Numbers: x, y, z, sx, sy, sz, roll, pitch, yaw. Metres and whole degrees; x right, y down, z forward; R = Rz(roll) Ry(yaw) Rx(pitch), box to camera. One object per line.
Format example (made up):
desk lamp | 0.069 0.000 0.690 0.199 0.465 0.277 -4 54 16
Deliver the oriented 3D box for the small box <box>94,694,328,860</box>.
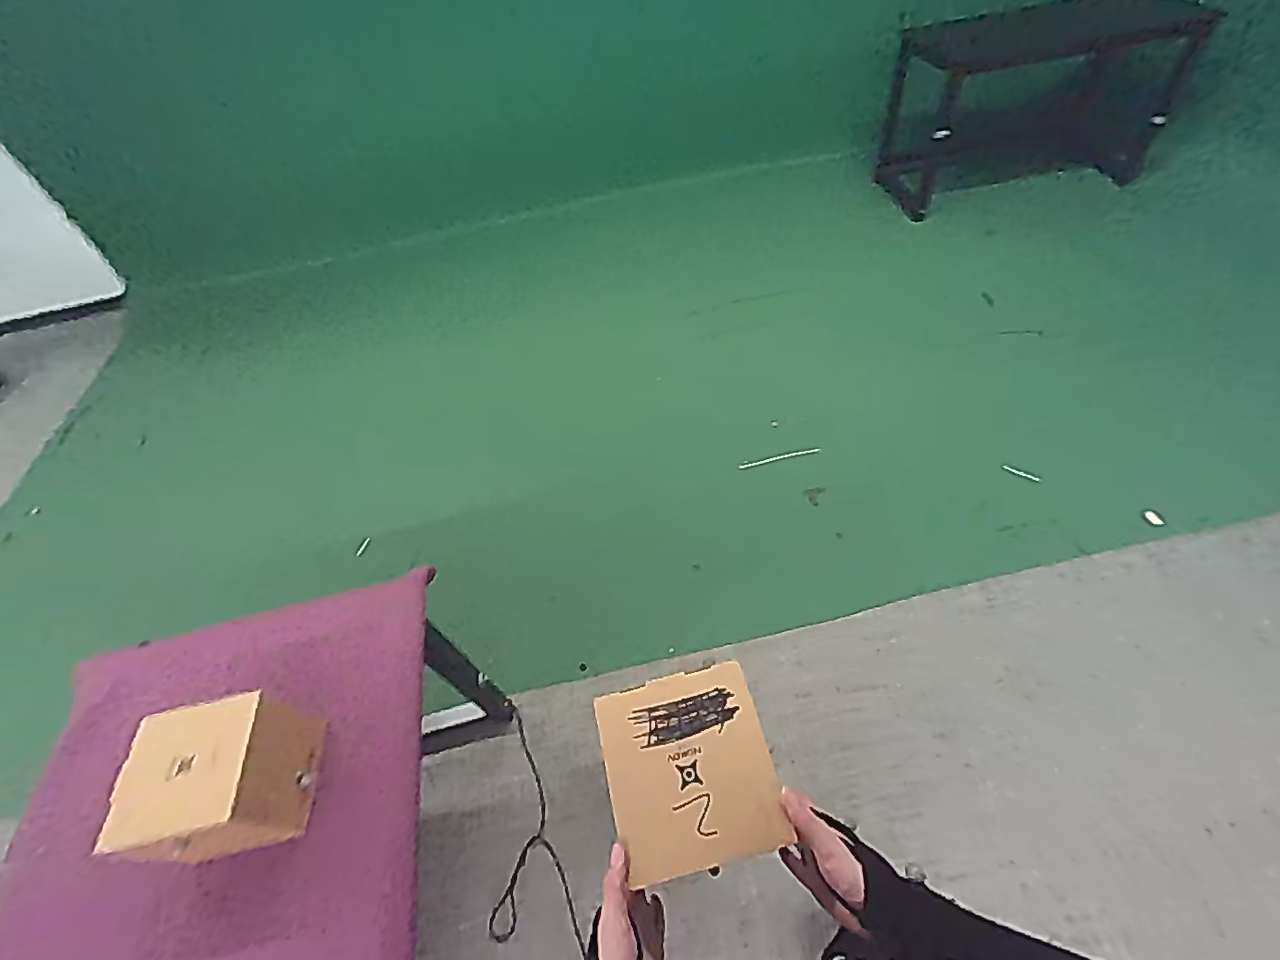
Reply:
small box | -0.597 0.434 0.781 0.179 0.176 0.168 -13 52 0
